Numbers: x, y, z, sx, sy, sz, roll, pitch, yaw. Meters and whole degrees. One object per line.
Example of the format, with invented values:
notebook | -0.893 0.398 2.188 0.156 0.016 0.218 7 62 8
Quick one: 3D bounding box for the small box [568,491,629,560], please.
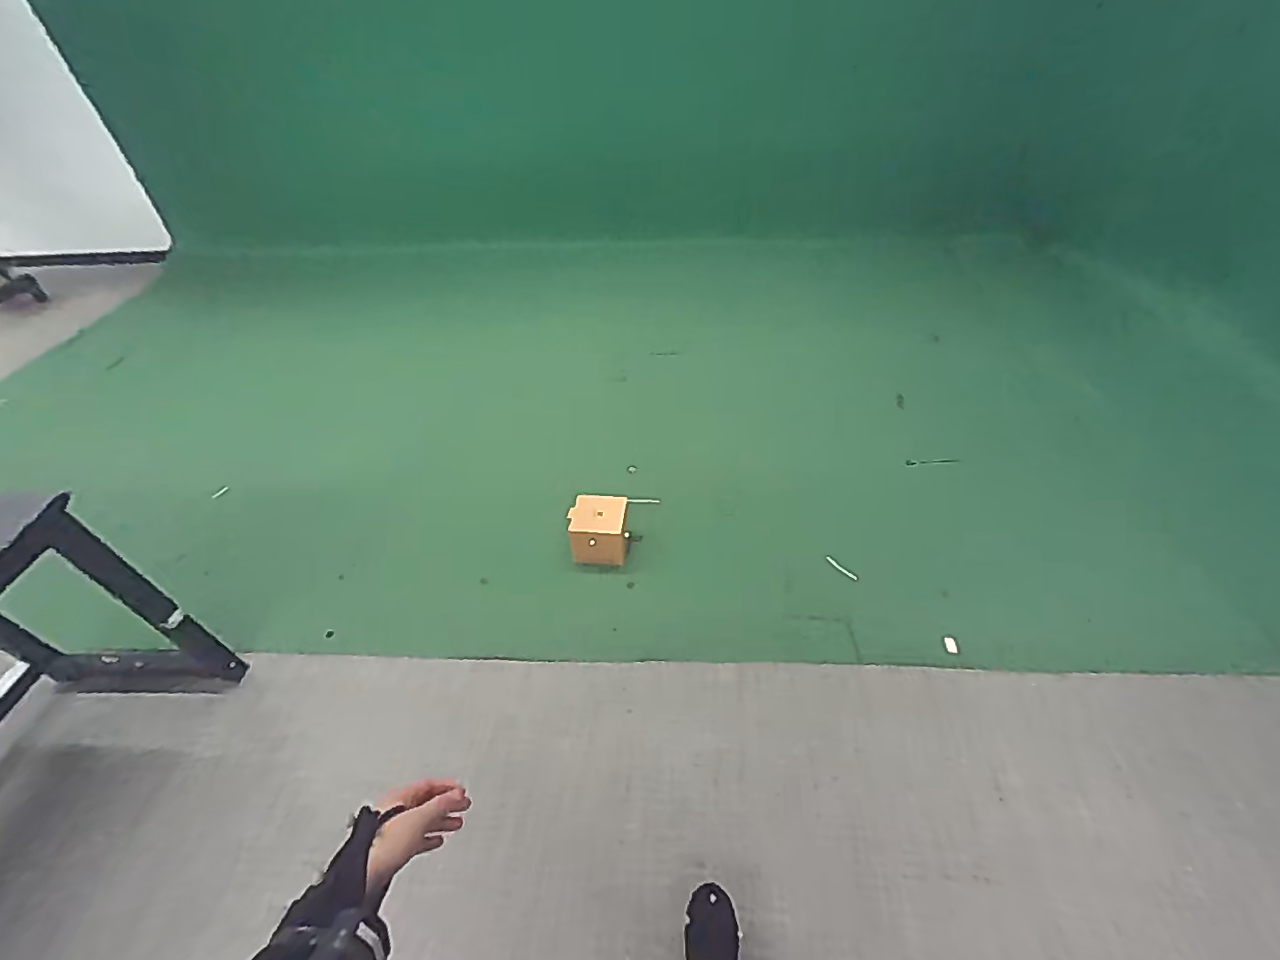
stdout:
small box | -0.135 0.159 1.843 0.179 0.176 0.168 3 45 6
